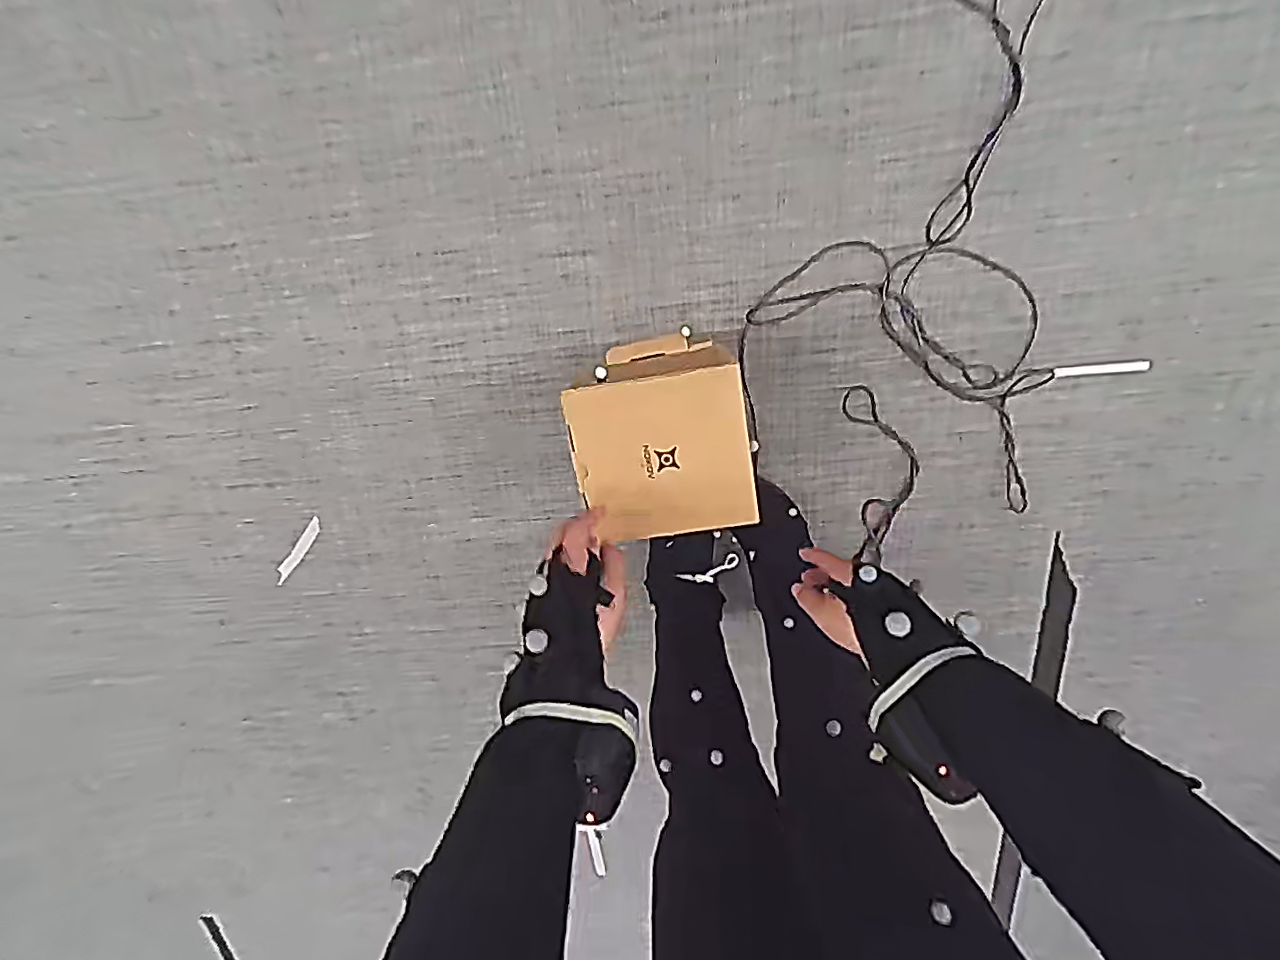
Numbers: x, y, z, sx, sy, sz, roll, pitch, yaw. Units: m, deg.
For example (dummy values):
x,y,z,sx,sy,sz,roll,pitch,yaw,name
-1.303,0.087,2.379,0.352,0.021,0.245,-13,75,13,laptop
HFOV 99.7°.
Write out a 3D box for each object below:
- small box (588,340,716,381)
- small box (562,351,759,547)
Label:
x,y,z,sx,sy,sz,roll,pitch,yaw,name
0.035,-0.095,0.764,0.168,0.176,0.179,-11,108,8,small box
0.028,-0.044,0.610,0.179,0.176,0.168,-9,108,8,small box
